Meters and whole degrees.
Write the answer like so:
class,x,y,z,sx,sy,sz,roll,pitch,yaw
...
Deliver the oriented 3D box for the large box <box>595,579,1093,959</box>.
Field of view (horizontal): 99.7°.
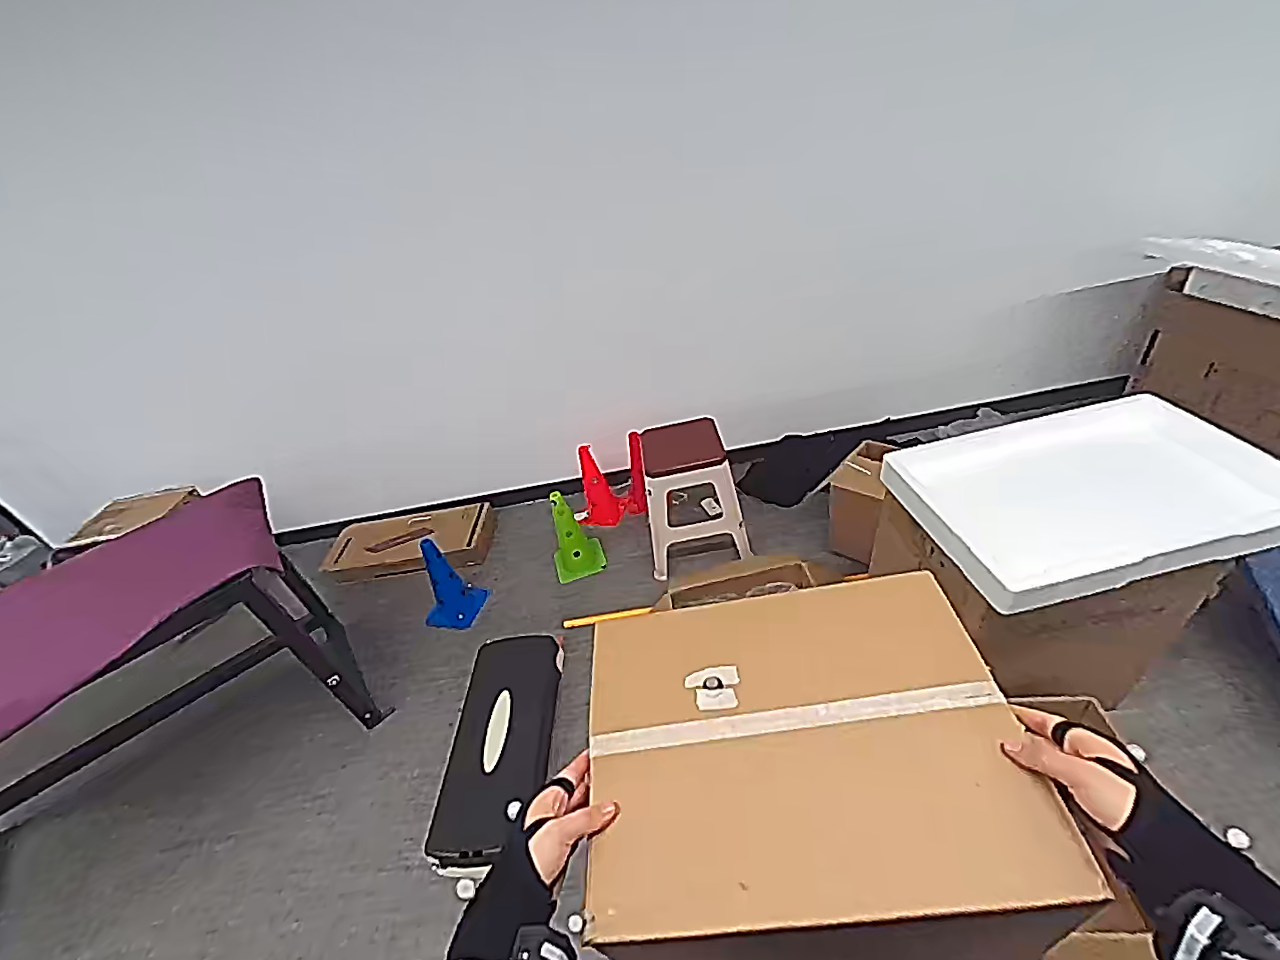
class,x,y,z,sx,sy,sz,roll,pitch,yaw
large box,0.183,0.364,0.637,0.408,0.320,0.320,-11,38,7
